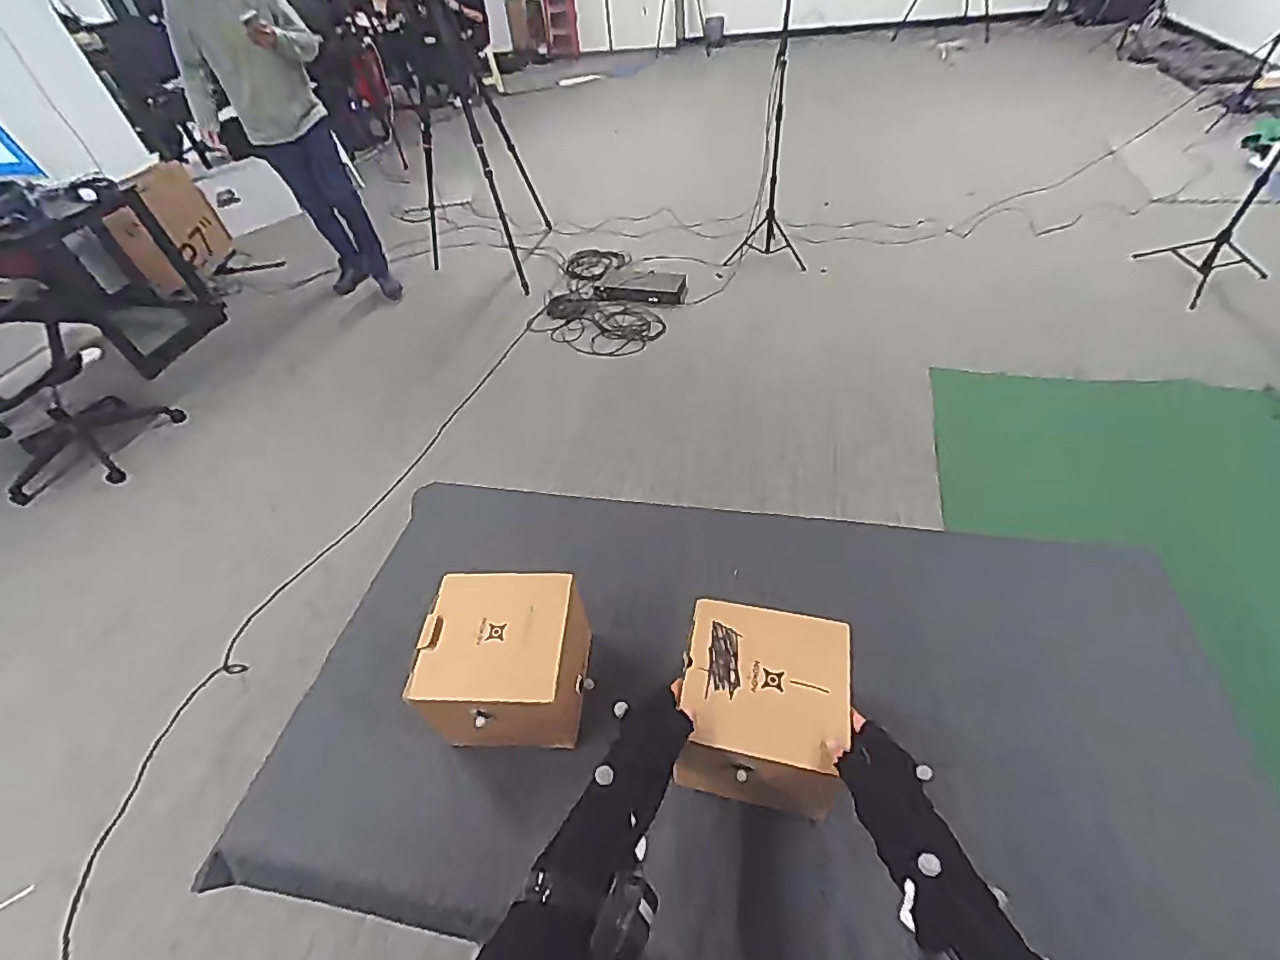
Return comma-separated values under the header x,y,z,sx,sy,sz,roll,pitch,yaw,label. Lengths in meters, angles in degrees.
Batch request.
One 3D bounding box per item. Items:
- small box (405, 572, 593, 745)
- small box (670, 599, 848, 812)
x,y,z,sx,sy,sz,roll,pitch,yaw,label
-0.168,0.236,0.710,0.179,0.176,0.168,0,48,6,small box
0.139,0.267,0.638,0.179,0.176,0.168,8,48,13,small box
